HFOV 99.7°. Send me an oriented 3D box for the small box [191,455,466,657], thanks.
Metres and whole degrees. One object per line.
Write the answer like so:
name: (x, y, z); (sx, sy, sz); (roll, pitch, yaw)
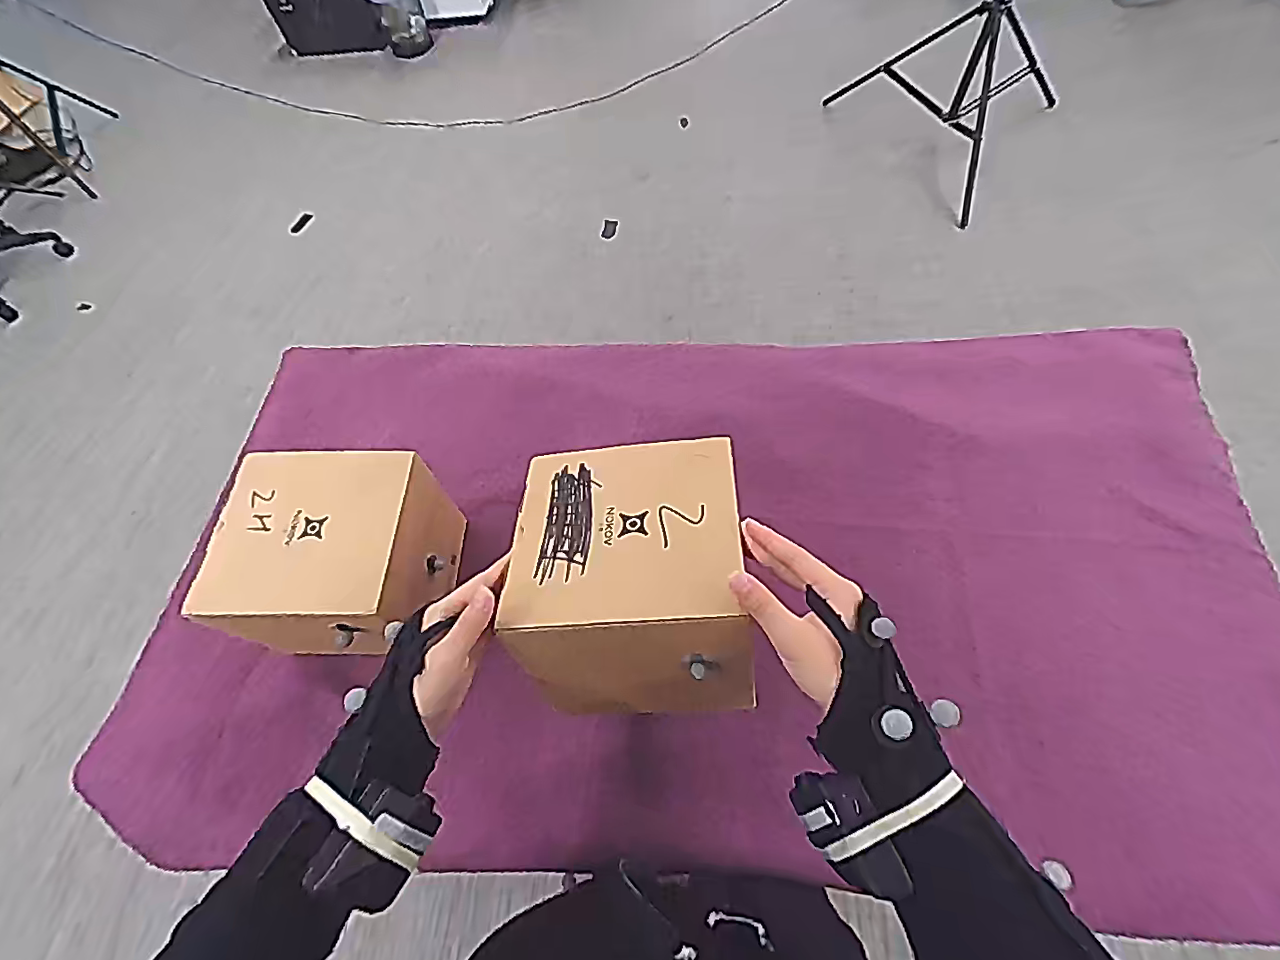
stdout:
small box: (-0.302, 0.087, 0.575); (0.179, 0.176, 0.168); (0, 60, 2)
